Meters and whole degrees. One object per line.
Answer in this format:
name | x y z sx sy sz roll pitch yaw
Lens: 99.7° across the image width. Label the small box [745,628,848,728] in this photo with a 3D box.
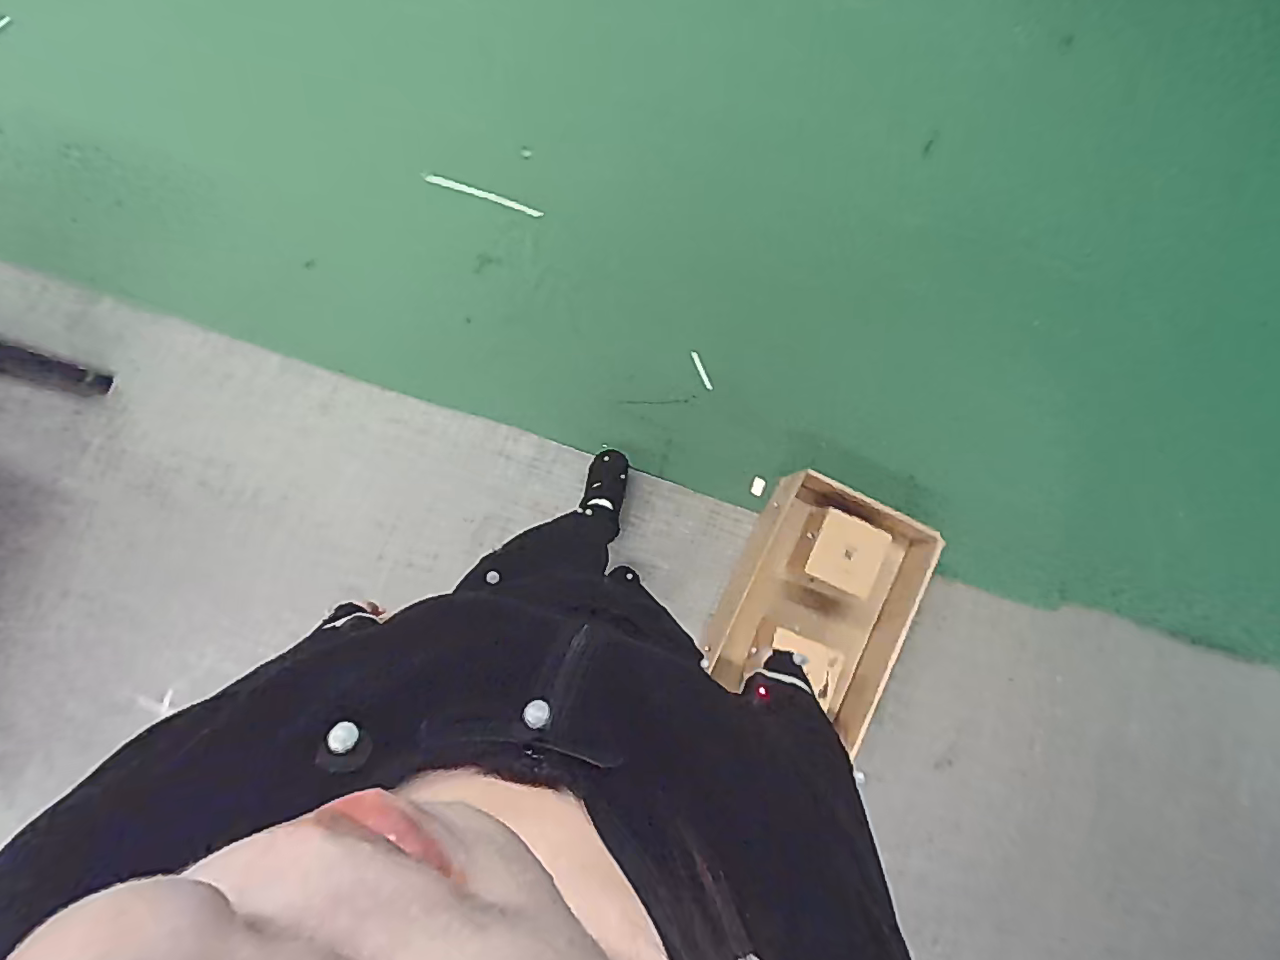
small box | 0.377 0.479 1.339 0.179 0.176 0.168 23 83 3
